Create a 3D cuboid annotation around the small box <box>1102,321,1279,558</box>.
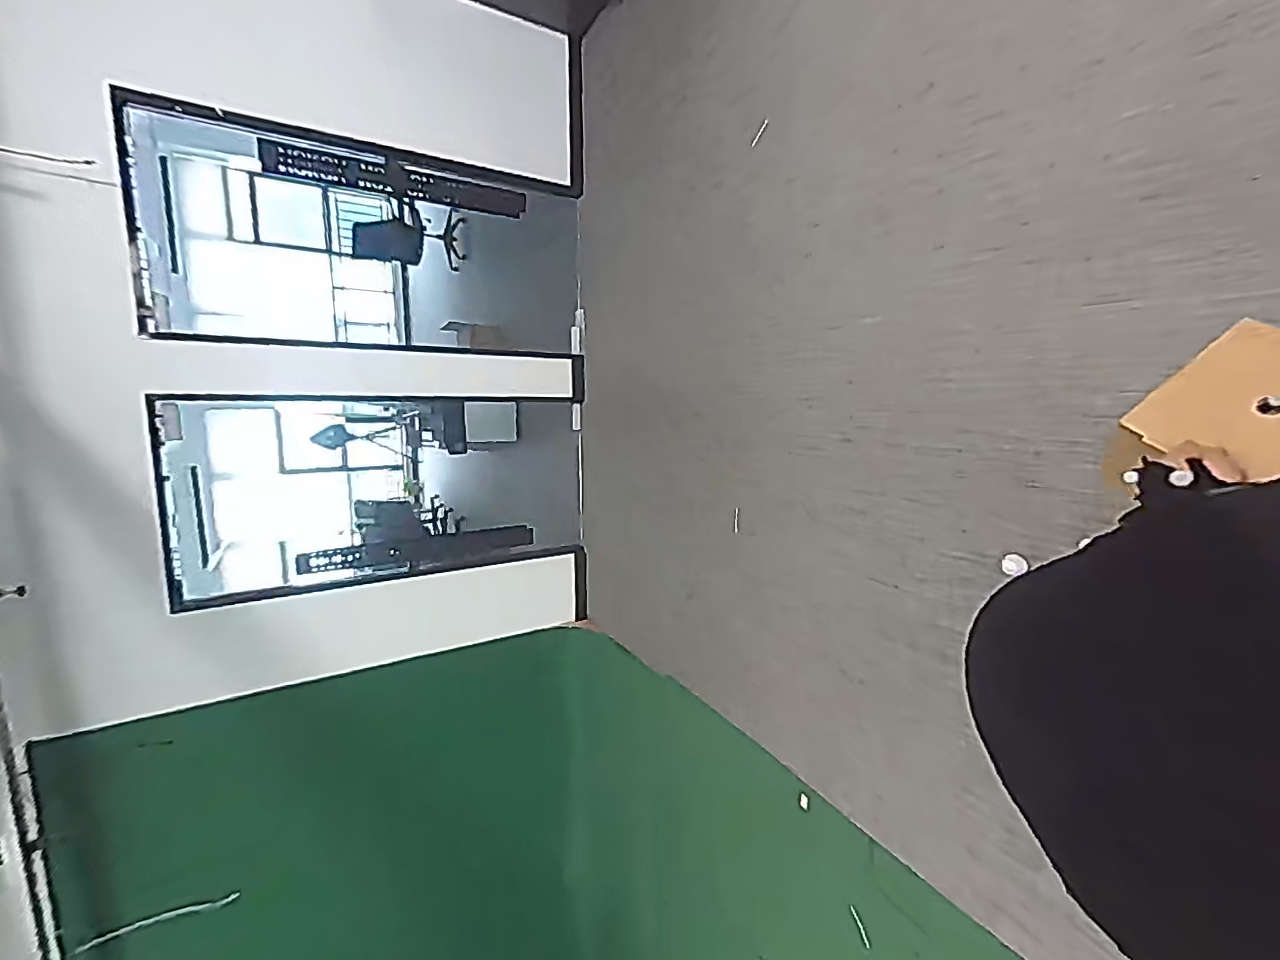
[{"bbox_3d":[0.687,-0.046,0.614,0.176,0.179,0.168,-43,50,8],"label":"small box"}]
